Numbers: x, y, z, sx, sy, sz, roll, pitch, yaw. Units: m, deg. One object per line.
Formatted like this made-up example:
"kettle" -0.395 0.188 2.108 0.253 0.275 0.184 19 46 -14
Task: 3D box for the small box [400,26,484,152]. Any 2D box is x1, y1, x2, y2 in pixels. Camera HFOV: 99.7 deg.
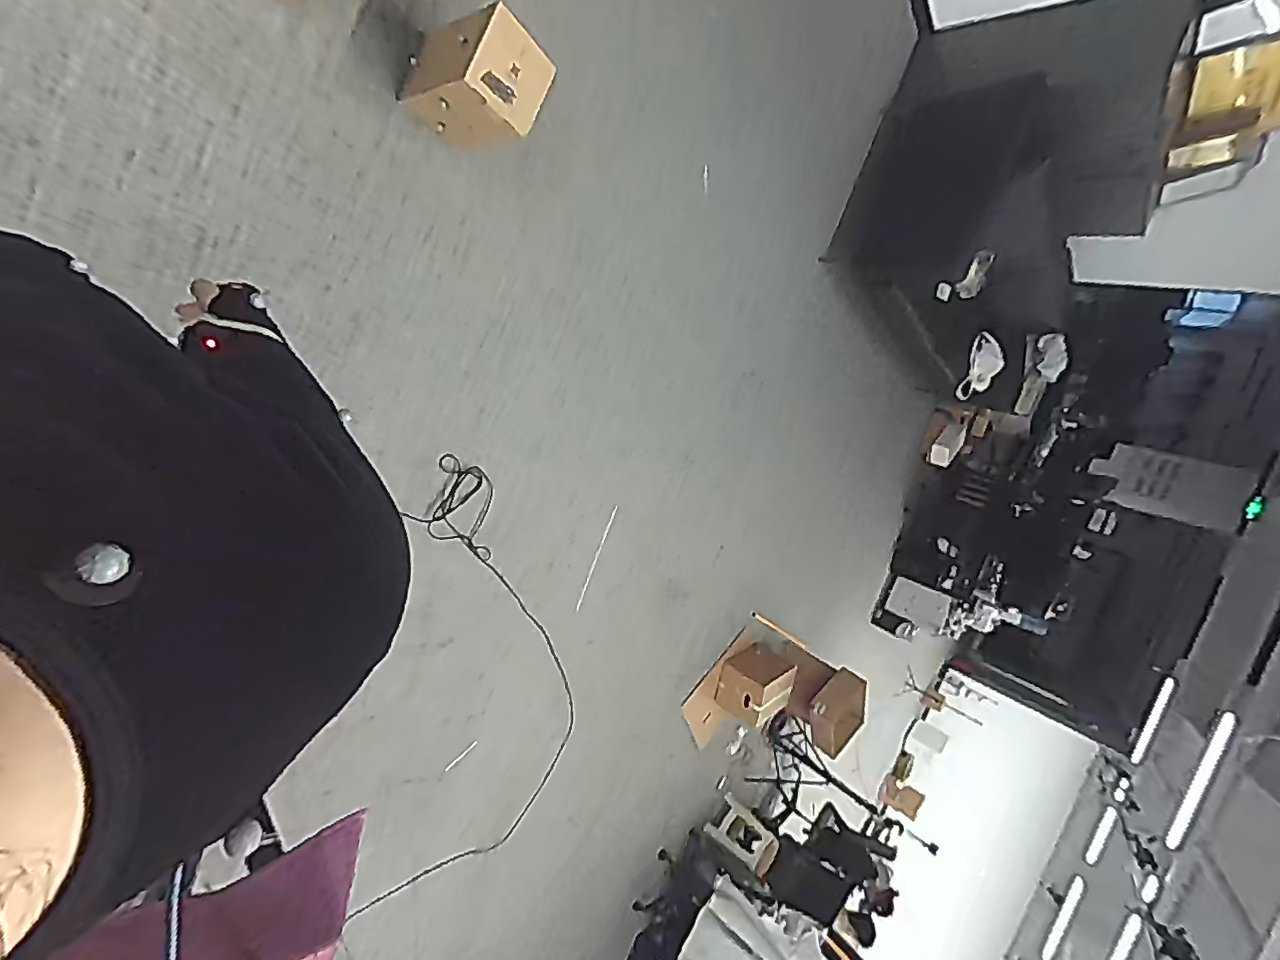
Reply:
"small box" -0.444 -0.917 1.290 0.168 0.176 0.179 22 91 -50

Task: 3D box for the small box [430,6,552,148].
"small box" -0.331 -0.864 1.182 0.168 0.176 0.179 24 88 -50
